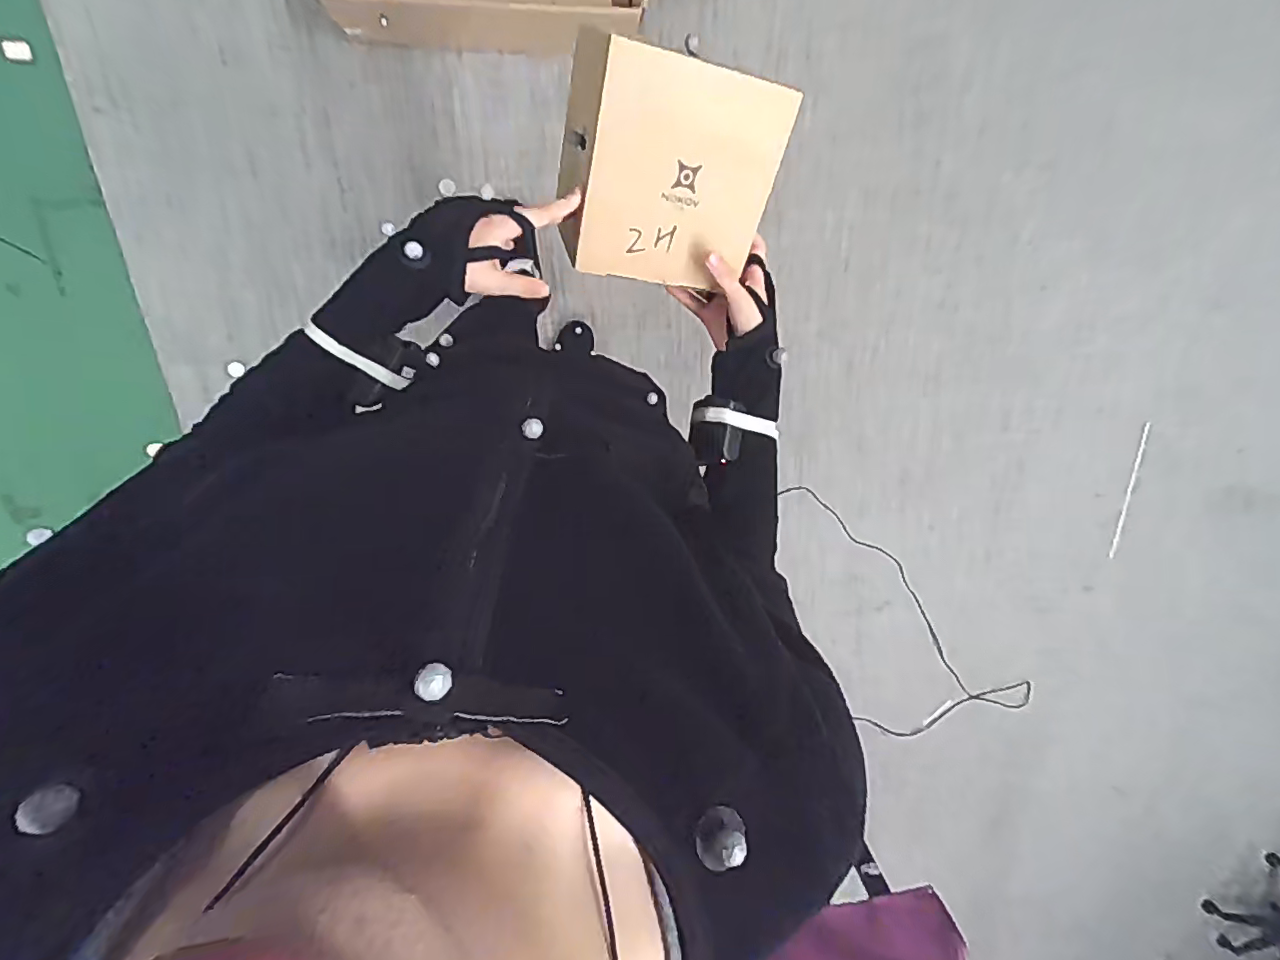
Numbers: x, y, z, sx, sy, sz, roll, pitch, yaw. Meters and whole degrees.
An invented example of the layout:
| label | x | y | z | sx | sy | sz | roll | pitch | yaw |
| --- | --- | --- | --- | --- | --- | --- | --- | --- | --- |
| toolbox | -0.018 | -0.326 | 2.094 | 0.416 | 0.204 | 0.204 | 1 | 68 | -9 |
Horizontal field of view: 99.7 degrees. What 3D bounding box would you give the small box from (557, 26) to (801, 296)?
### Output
| label | x | y | z | sx | sy | sz | roll | pitch | yaw |
| --- | --- | --- | --- | --- | --- | --- | --- | --- | --- |
| small box | 0.018 | -0.305 | 0.520 | 0.168 | 0.176 | 0.179 | 3 | 131 | -18 |
